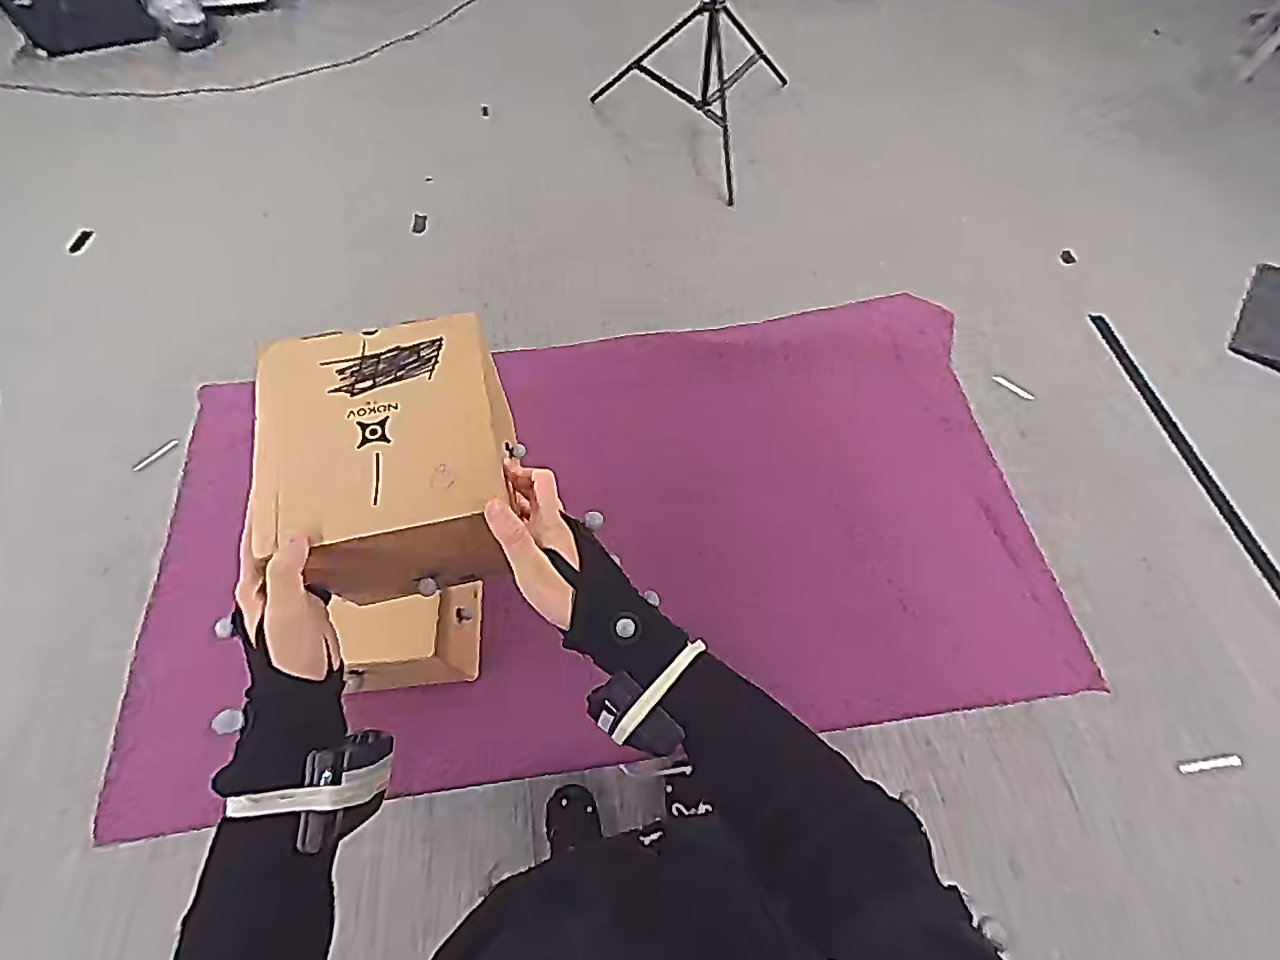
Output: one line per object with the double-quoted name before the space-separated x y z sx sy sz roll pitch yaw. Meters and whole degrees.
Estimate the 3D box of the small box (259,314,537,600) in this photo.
"small box" -0.190 -0.011 0.466 0.168 0.176 0.179 -11 68 -8

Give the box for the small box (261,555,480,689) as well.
"small box" -0.297 0.150 0.645 0.179 0.176 0.168 -5 63 -1
